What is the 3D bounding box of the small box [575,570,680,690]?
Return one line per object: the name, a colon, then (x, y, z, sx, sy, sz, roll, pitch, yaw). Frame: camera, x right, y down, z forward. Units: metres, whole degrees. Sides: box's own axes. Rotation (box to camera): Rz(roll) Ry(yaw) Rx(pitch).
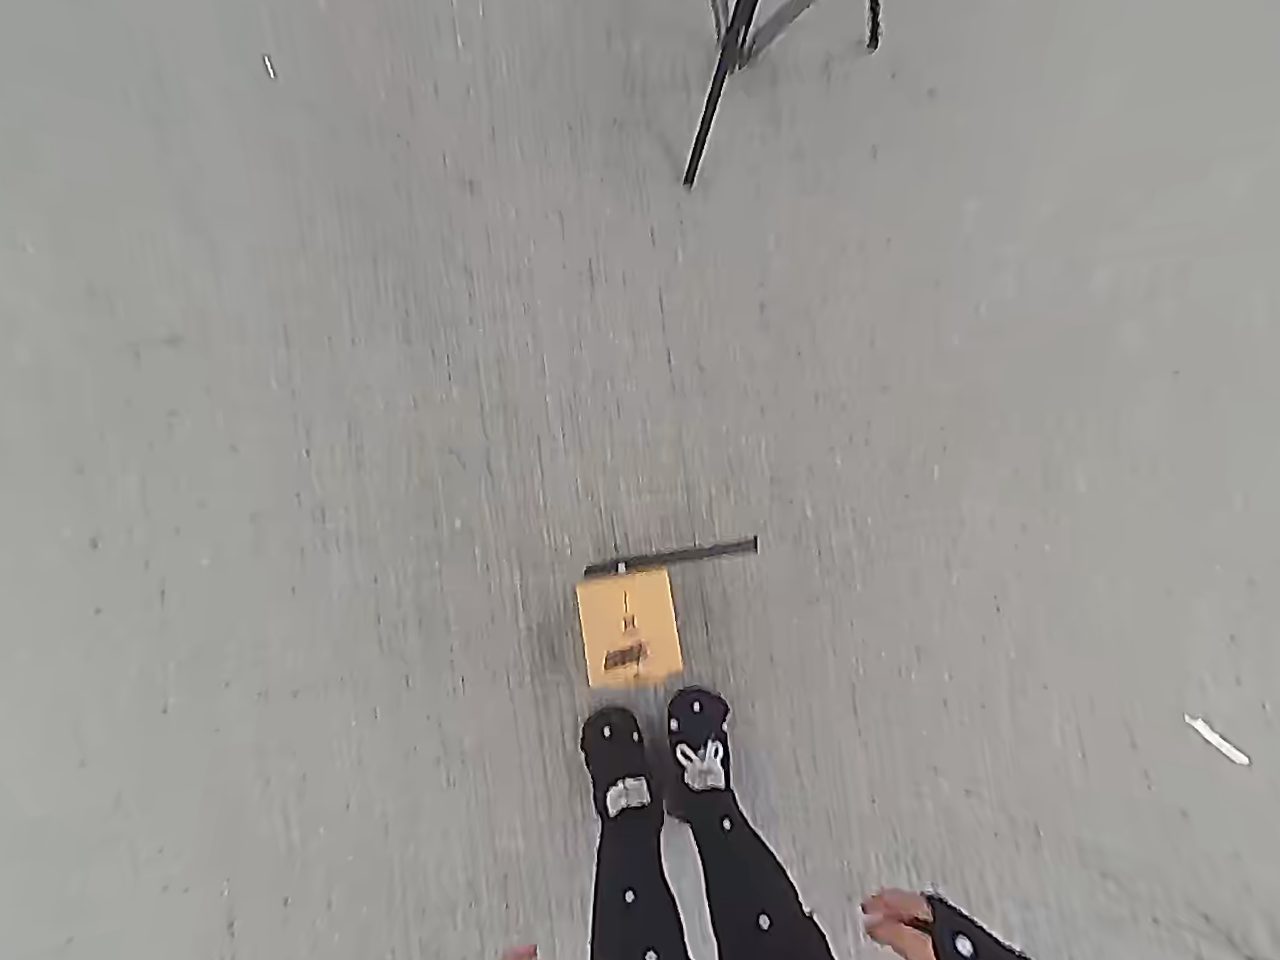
small box: (-0.026, 0.274, 1.023, 0.168, 0.176, 0.179, -9, 84, -5)
